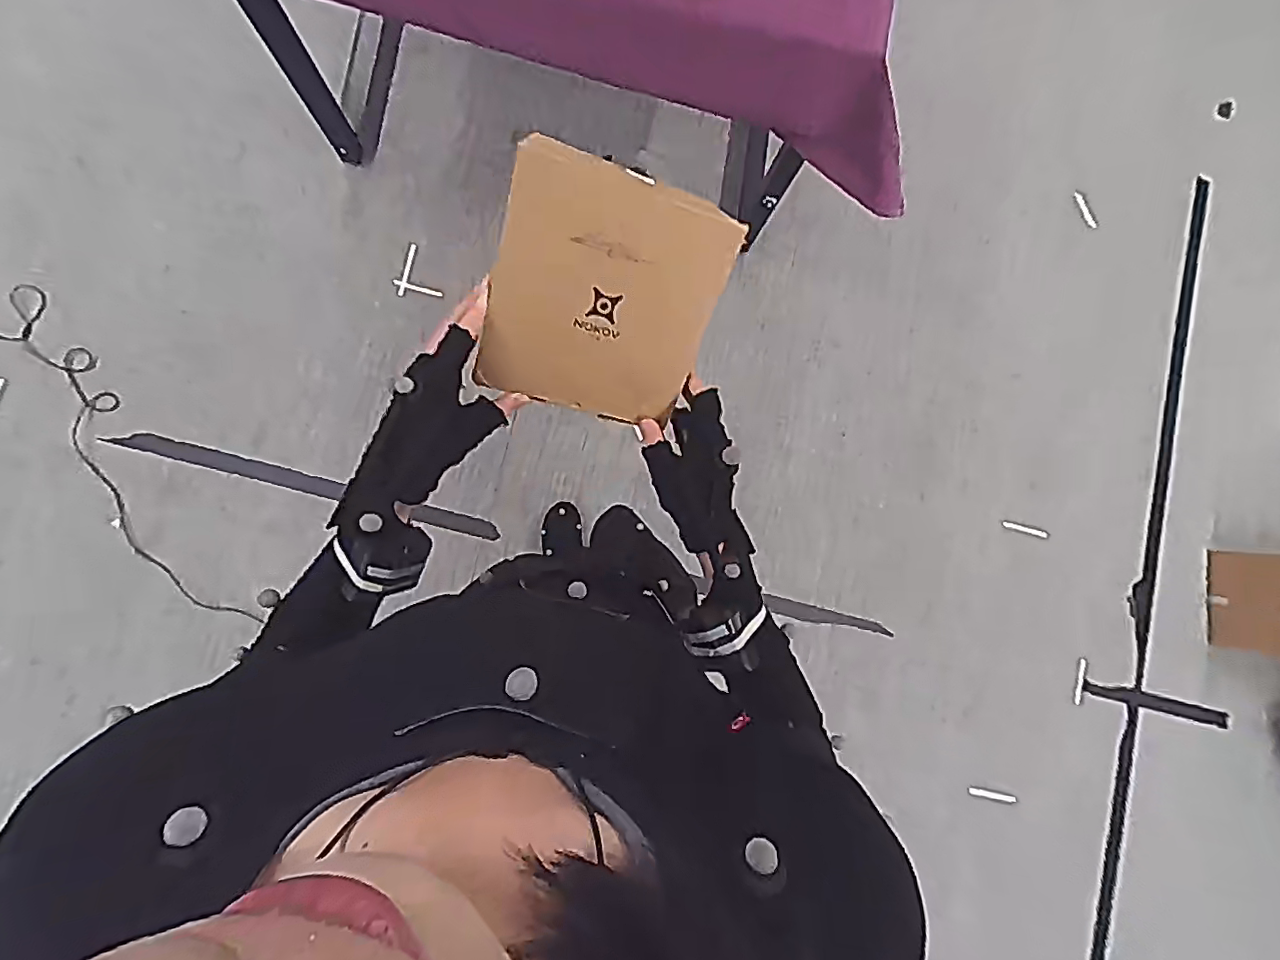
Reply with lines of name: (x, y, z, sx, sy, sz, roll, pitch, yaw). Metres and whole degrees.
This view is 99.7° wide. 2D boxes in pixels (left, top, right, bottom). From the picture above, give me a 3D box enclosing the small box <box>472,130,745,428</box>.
small box: (-0.036, -0.175, 0.467, 0.168, 0.176, 0.179, 13, 121, -16)
